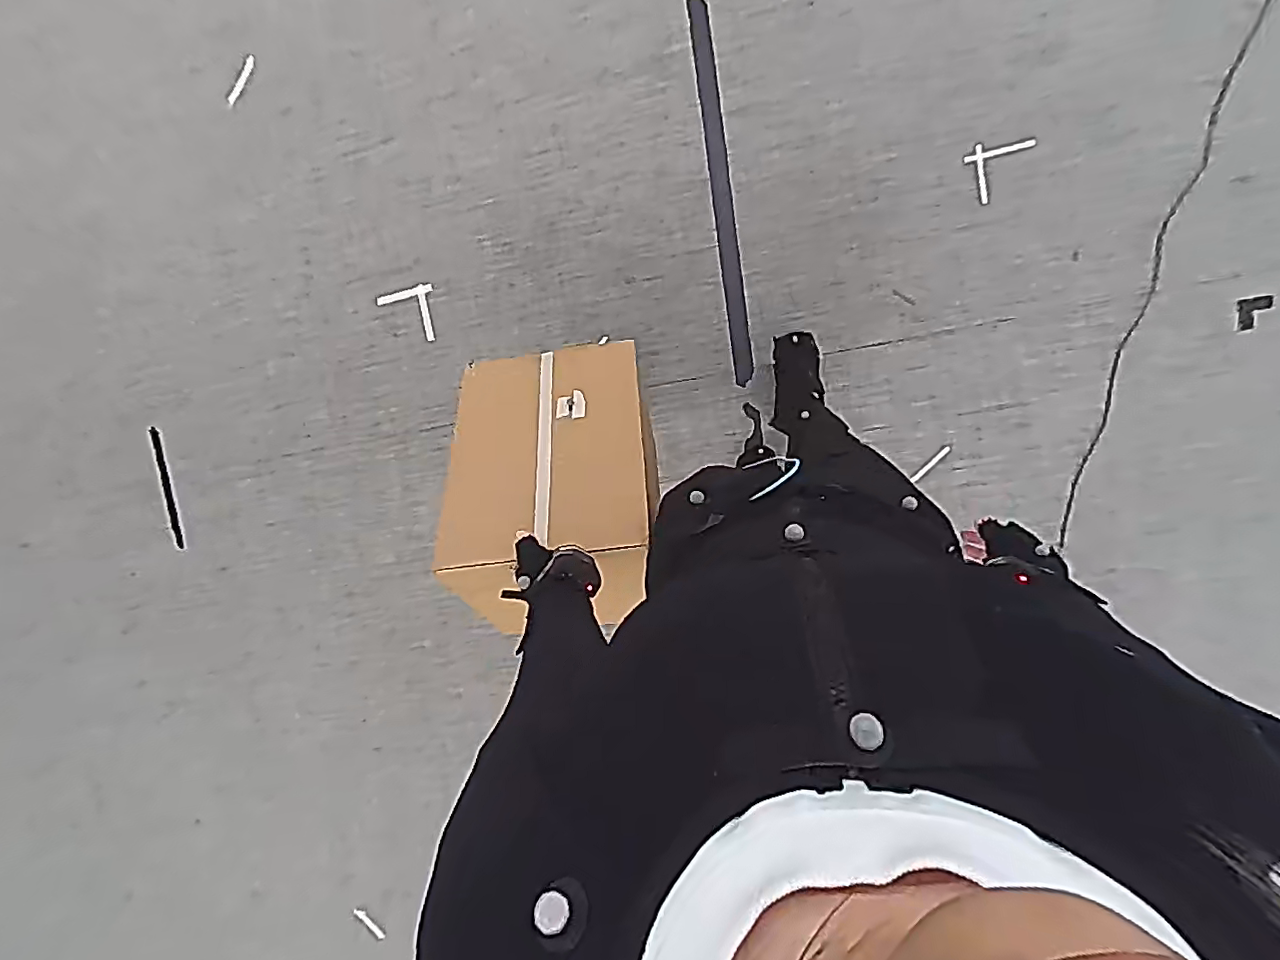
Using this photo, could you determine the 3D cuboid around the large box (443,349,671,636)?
[{"bbox_3d":[-0.127,0.030,0.992,0.320,0.320,0.408,-7,55,4],"label":"large box"}]
